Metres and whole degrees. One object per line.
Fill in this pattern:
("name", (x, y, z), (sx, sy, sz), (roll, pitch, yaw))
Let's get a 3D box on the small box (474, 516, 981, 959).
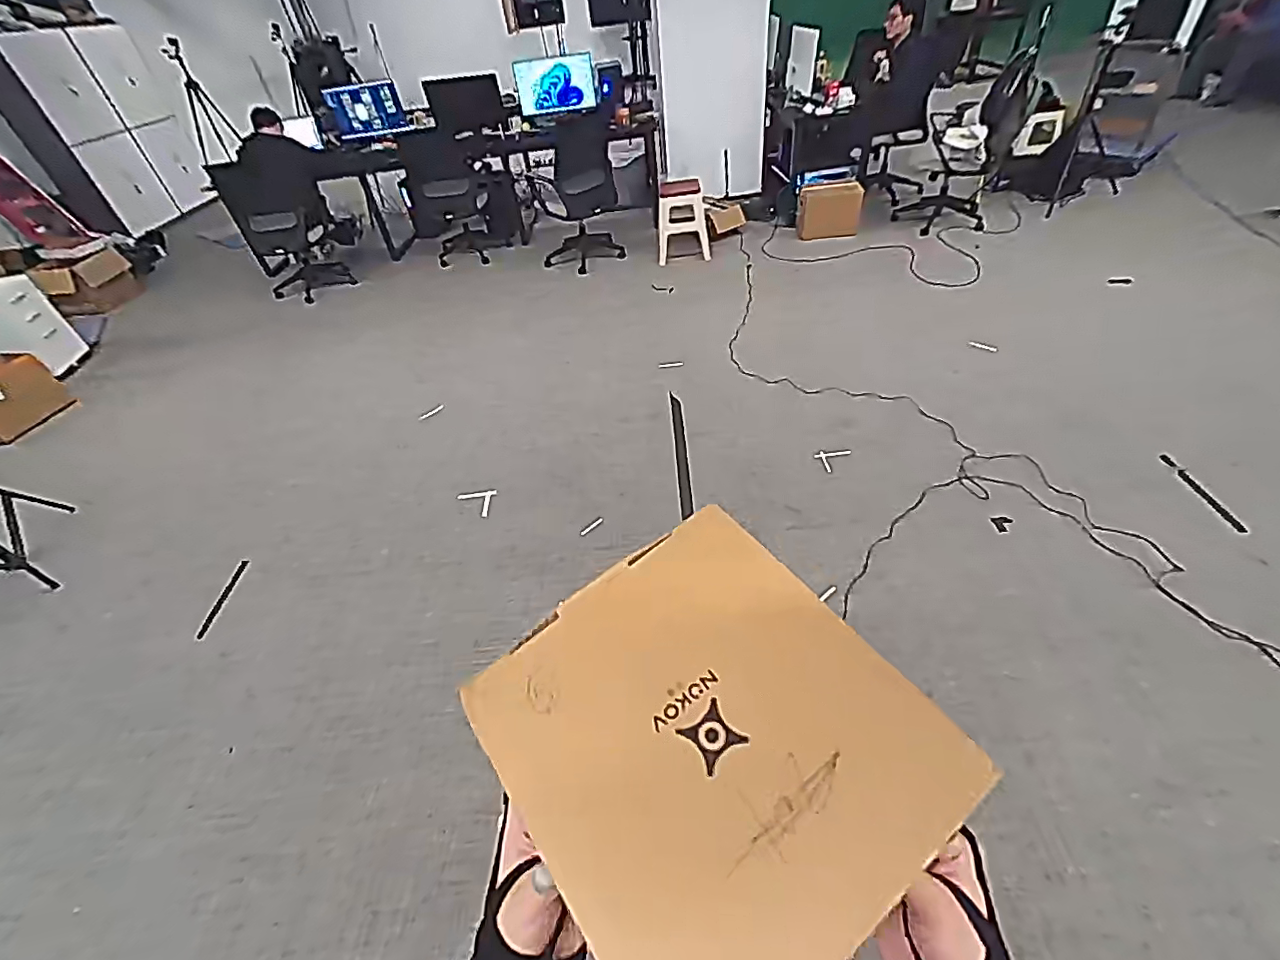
("small box", (0.037, 0.161, 0.313), (0.168, 0.176, 0.179), (-35, 59, -18))
